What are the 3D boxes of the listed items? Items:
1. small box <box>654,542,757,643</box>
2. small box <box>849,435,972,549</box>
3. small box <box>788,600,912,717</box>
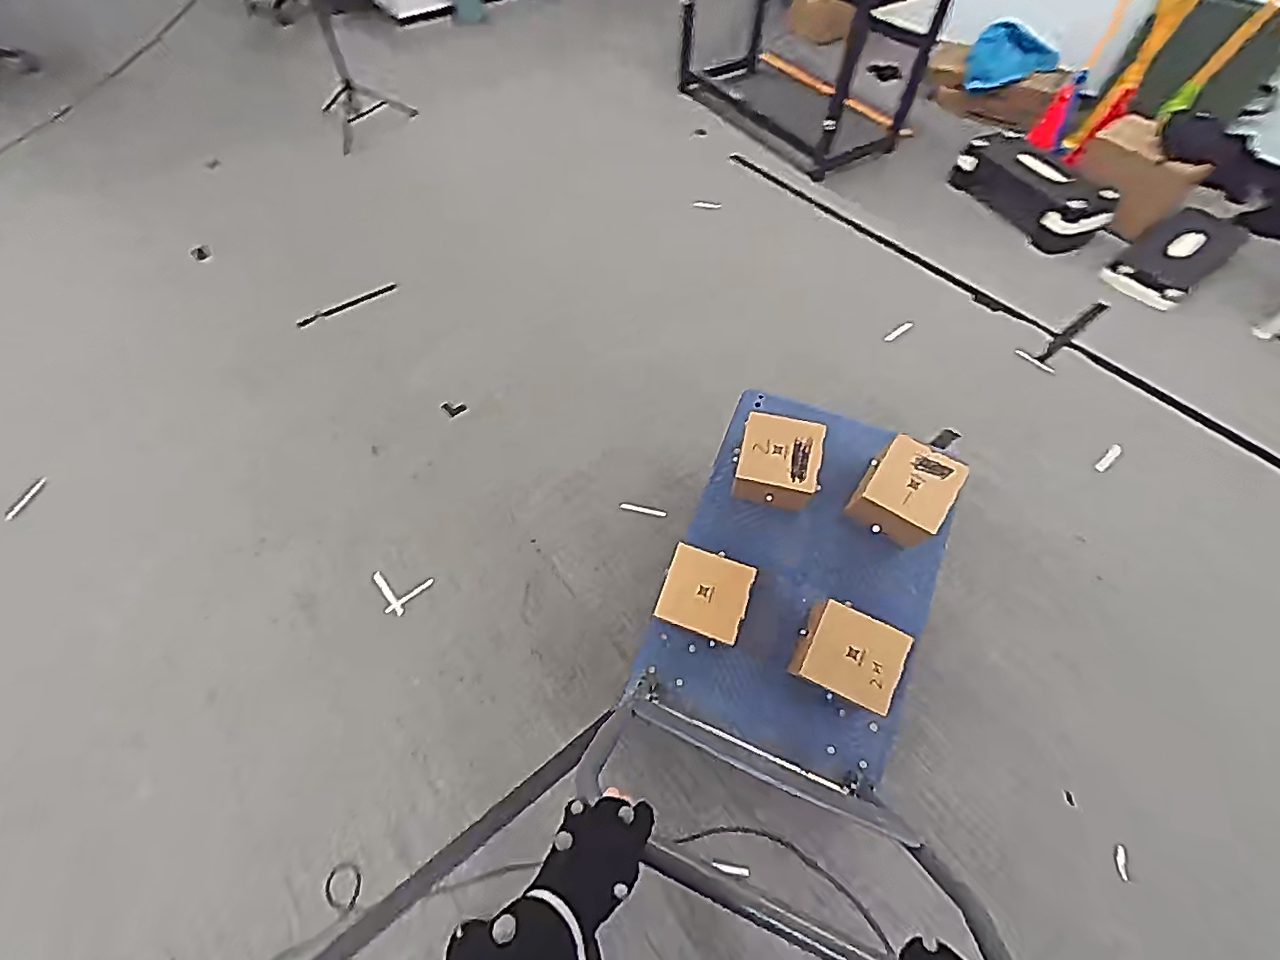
[{"bbox_3d":[0.142,0.256,1.203,0.179,0.176,0.168,19,75,10],"label":"small box"},{"bbox_3d":[0.601,0.034,1.228,0.168,0.176,0.179,32,79,14],"label":"small box"},{"bbox_3d":[0.430,0.372,1.136,0.179,0.176,0.168,26,77,13],"label":"small box"}]
